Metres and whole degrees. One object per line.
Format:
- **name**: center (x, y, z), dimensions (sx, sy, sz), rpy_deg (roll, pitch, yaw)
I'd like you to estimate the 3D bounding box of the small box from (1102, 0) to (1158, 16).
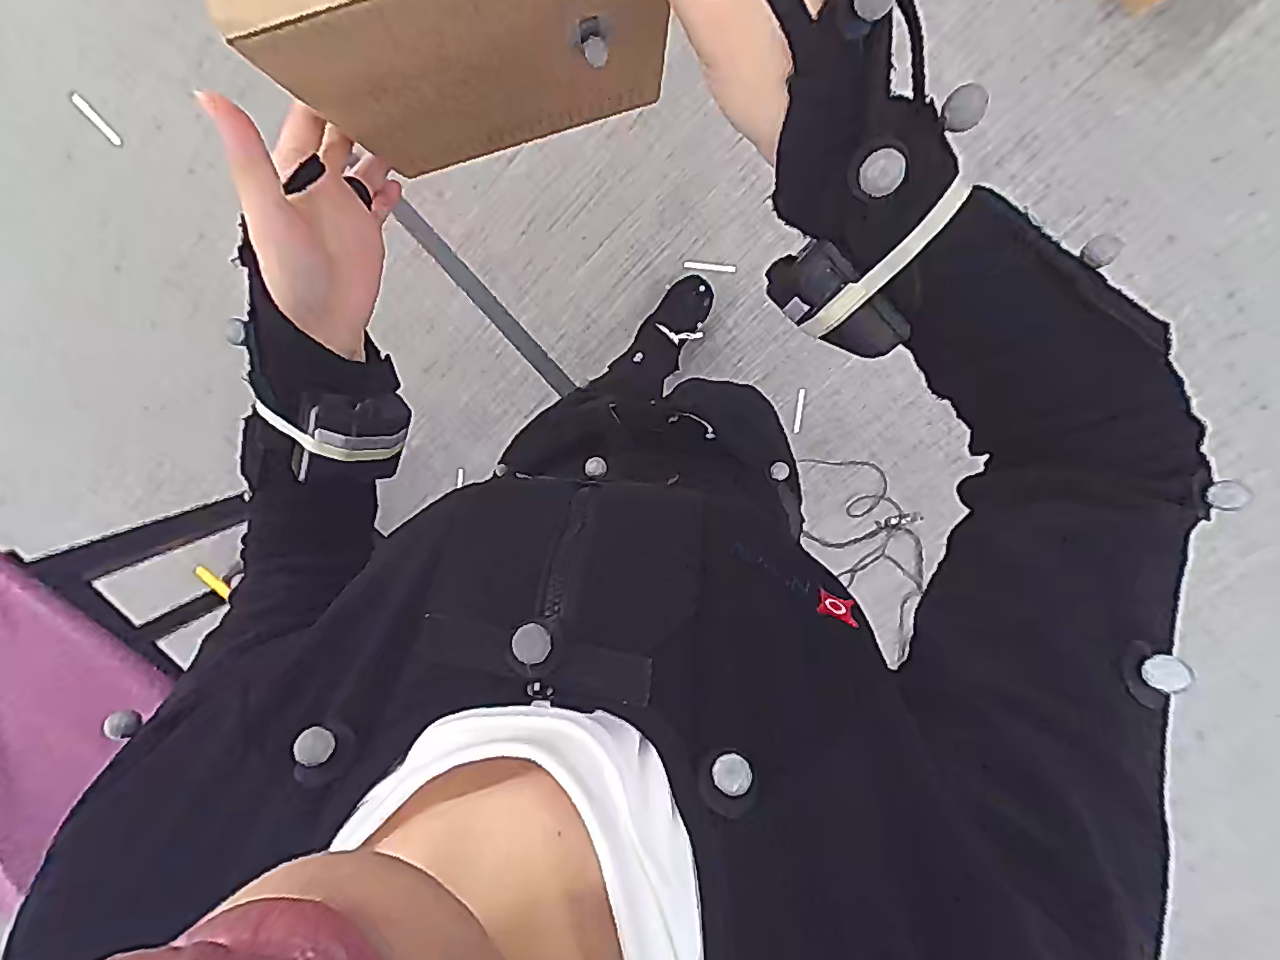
- **small box**: center (0.943, -0.987, 0.961), dimensions (0.168, 0.176, 0.179), rpy_deg (-44, 95, 14)
